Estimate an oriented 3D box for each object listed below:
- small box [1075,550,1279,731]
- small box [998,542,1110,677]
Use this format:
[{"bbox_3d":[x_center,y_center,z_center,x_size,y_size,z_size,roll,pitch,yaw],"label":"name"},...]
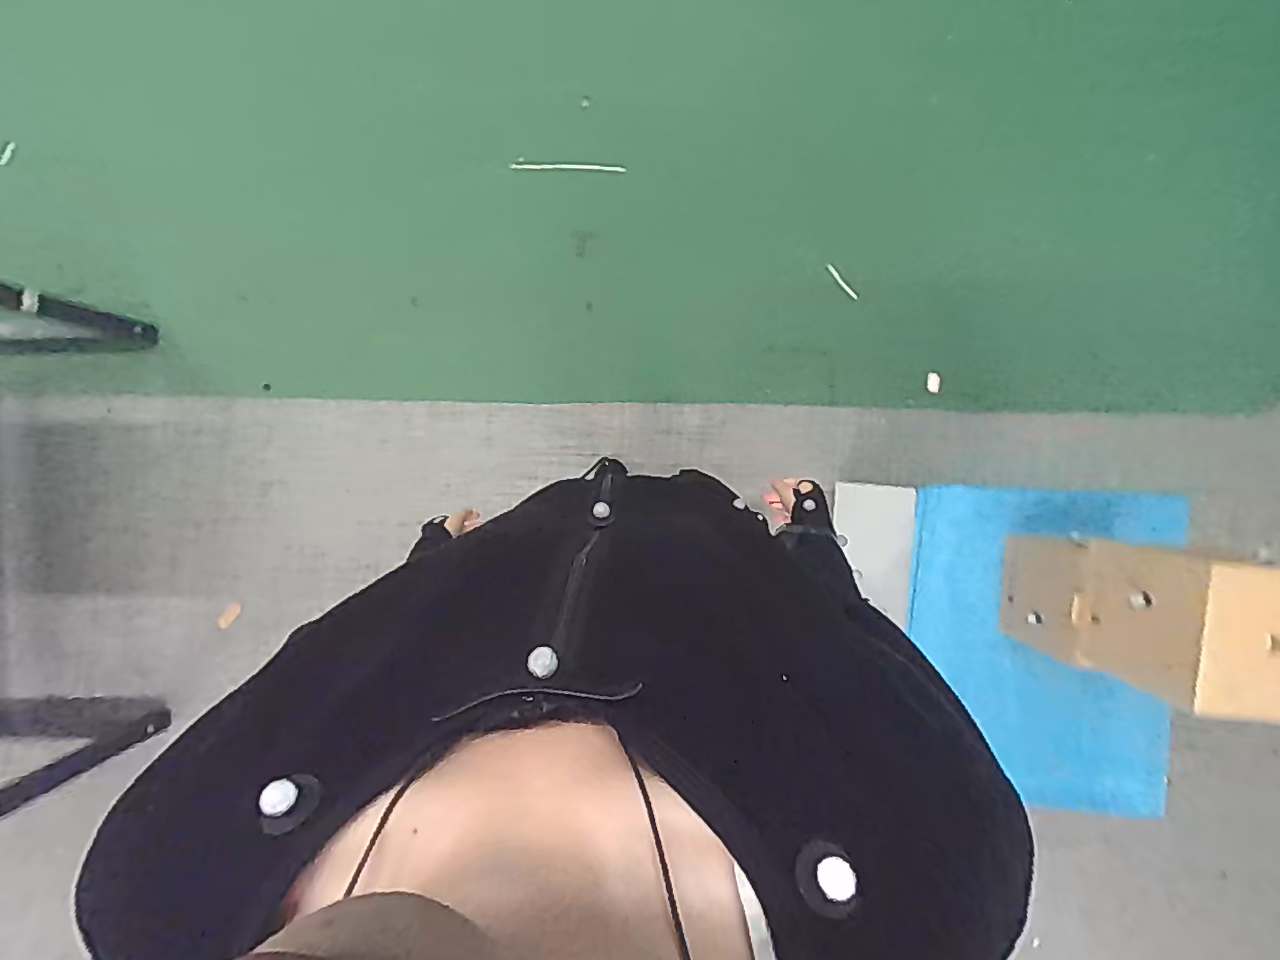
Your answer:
[{"bbox_3d":[0.676,0.182,0.651,0.179,0.176,0.168,5,92,0],"label":"small box"},{"bbox_3d":[0.679,0.190,0.813,0.179,0.176,0.168,4,93,1],"label":"small box"}]
